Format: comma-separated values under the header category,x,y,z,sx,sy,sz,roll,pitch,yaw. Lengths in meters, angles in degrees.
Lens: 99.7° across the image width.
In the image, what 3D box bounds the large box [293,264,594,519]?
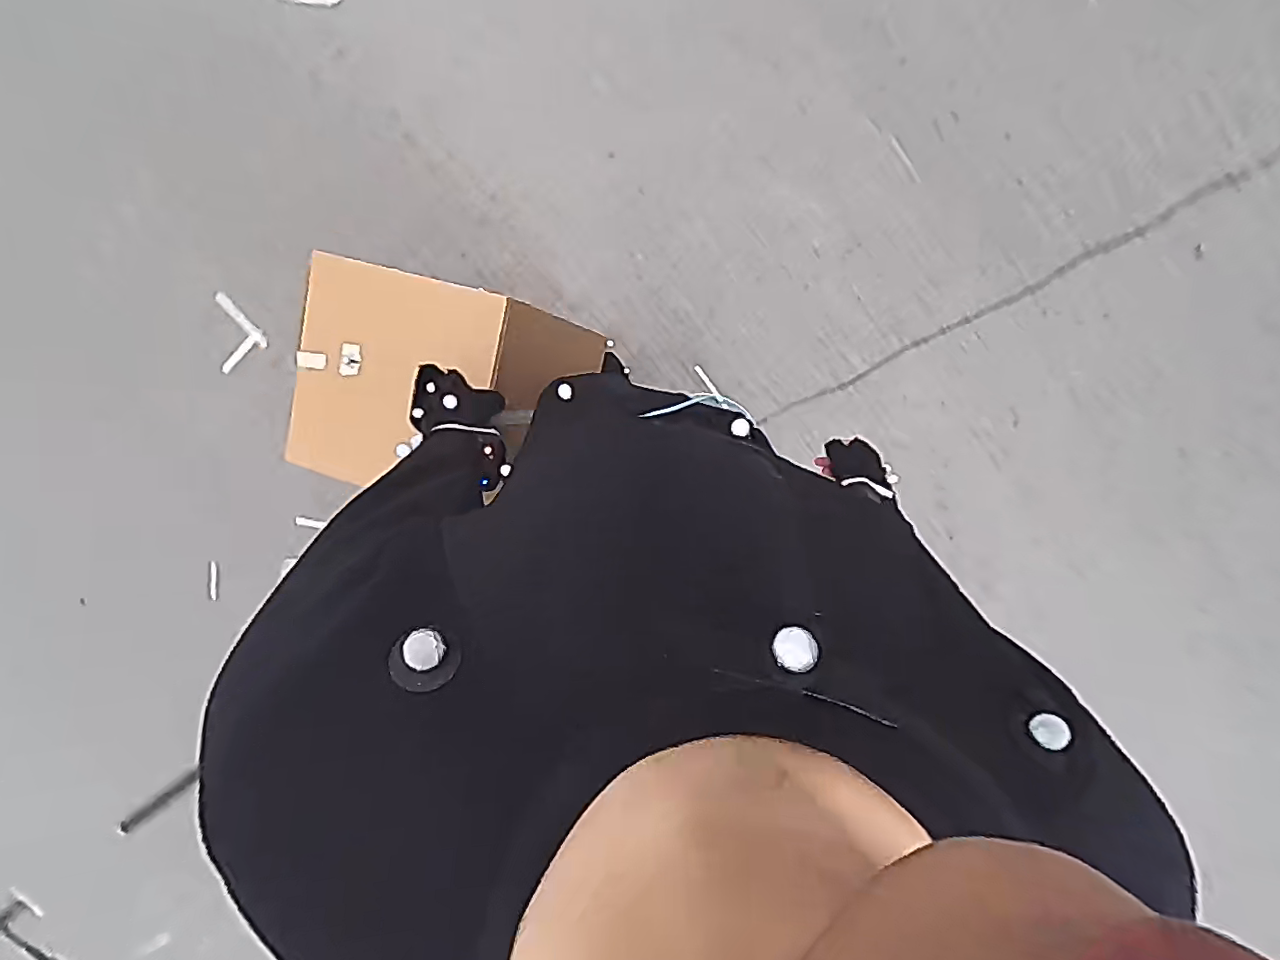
category,x,y,z,sx,sy,sz,roll,pitch,yaw
large box,-0.316,-0.157,0.953,0.320,0.408,0.320,17,102,11
